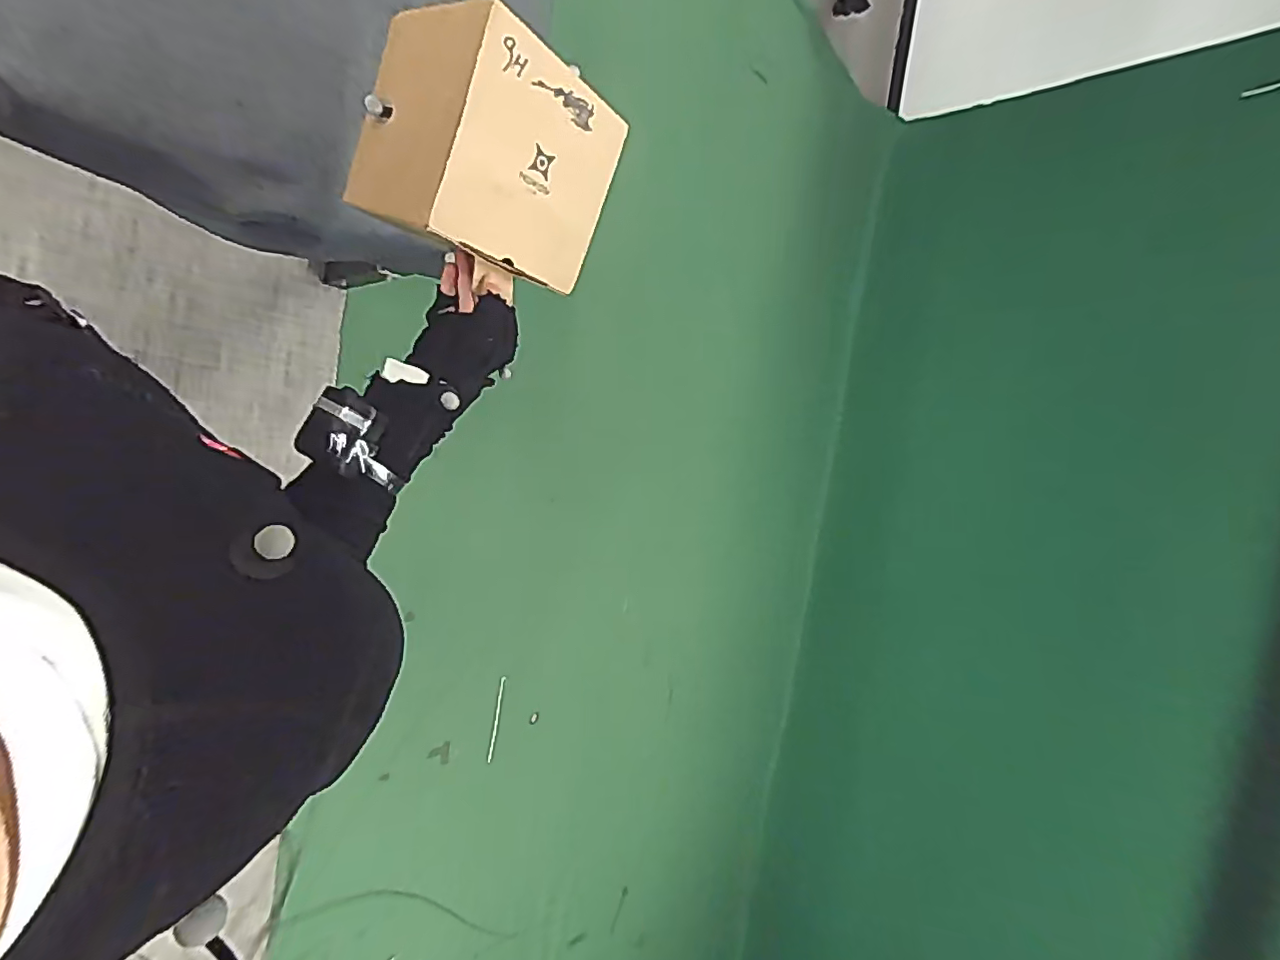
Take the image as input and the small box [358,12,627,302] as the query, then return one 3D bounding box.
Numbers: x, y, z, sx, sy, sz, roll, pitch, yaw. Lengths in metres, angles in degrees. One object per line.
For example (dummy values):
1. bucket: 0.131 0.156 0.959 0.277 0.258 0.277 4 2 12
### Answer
1. small box: -0.149 -0.304 0.531 0.168 0.176 0.179 6 111 -53
